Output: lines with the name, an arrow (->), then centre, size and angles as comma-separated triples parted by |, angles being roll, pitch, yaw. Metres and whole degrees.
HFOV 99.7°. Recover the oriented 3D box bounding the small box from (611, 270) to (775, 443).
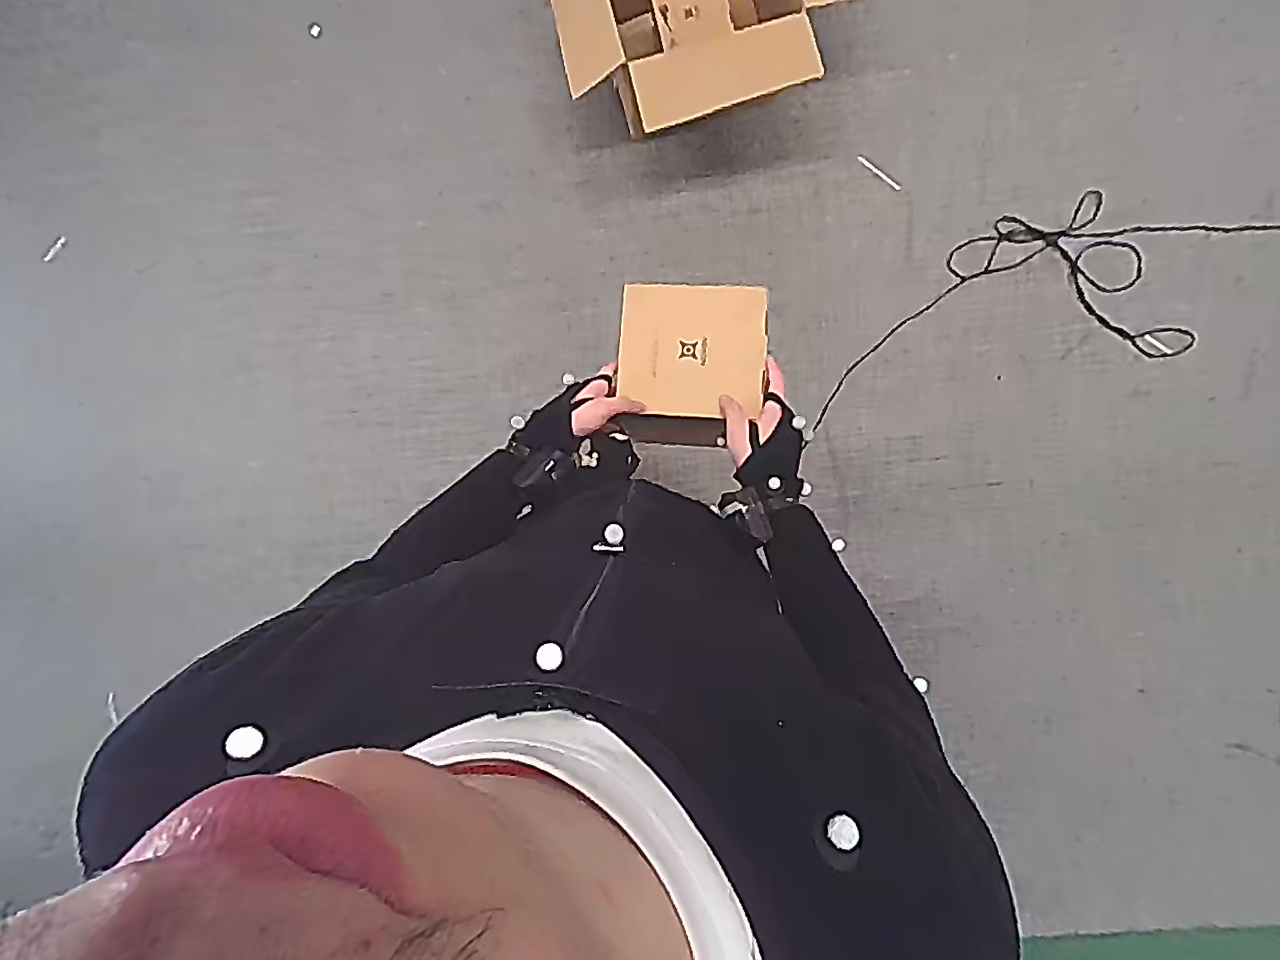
small box -> 0.070, -0.150, 0.706 | 0.179, 0.176, 0.168 | 6, 80, 8
